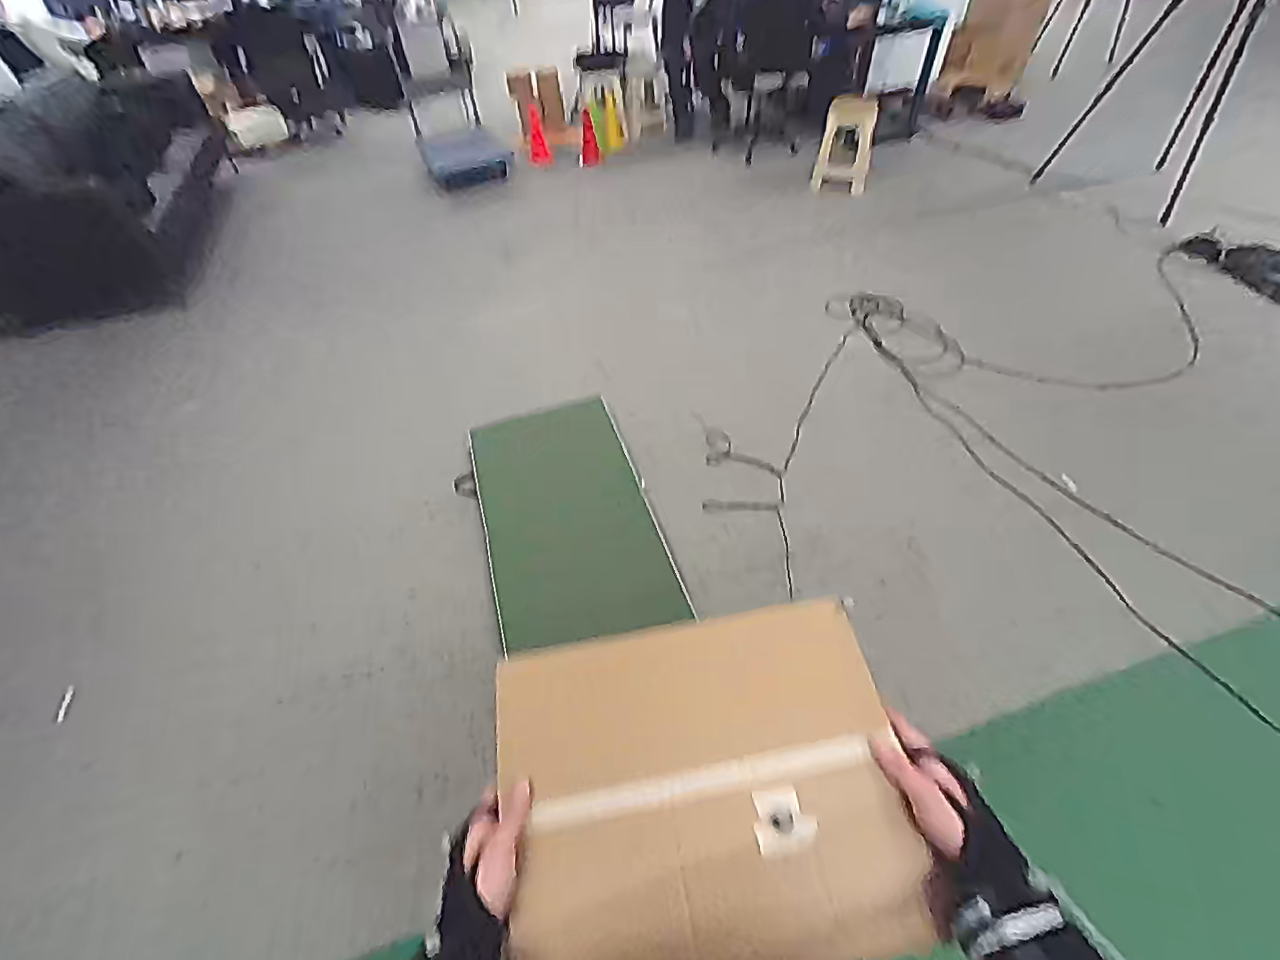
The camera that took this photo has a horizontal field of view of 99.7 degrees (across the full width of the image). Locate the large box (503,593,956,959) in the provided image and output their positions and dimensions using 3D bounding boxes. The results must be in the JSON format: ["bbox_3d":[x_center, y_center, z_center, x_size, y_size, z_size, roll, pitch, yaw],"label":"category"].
[{"bbox_3d":[0.070,0.378,0.675,0.408,0.320,0.320,-10,57,-3],"label":"large box"}]
